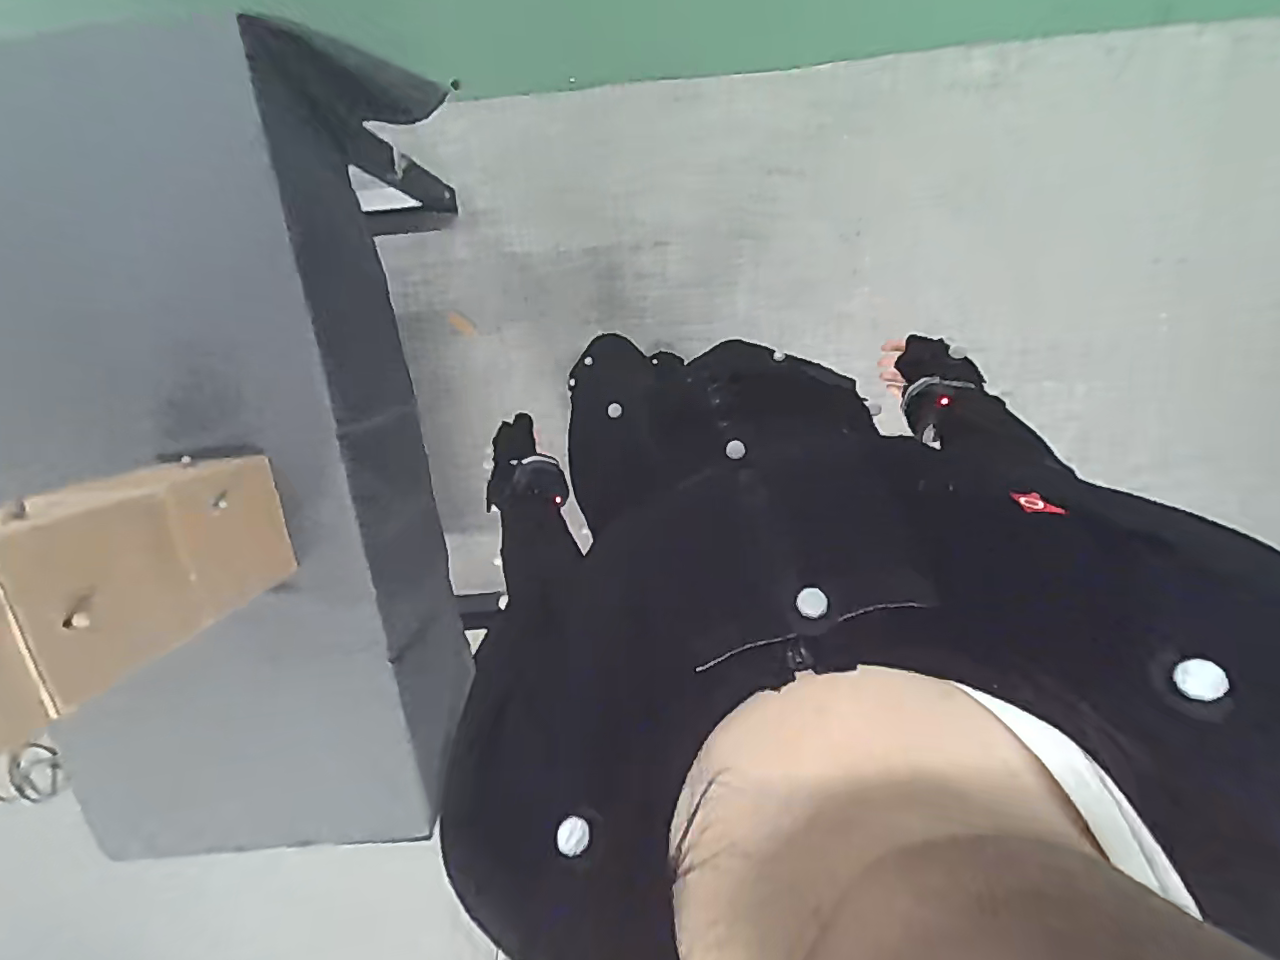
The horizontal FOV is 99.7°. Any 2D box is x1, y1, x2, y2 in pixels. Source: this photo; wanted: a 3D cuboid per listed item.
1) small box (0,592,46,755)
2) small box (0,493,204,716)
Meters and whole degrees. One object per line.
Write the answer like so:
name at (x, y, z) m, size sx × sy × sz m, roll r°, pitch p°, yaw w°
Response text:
small box at (-0.615, 0.160, 0.391) m, size 0.168 × 0.176 × 0.179 m, roll -3°, pitch 104°, yaw 3°
small box at (-0.604, 0.116, 0.548) m, size 0.168 × 0.176 × 0.179 m, roll -5°, pitch 105°, yaw 3°
